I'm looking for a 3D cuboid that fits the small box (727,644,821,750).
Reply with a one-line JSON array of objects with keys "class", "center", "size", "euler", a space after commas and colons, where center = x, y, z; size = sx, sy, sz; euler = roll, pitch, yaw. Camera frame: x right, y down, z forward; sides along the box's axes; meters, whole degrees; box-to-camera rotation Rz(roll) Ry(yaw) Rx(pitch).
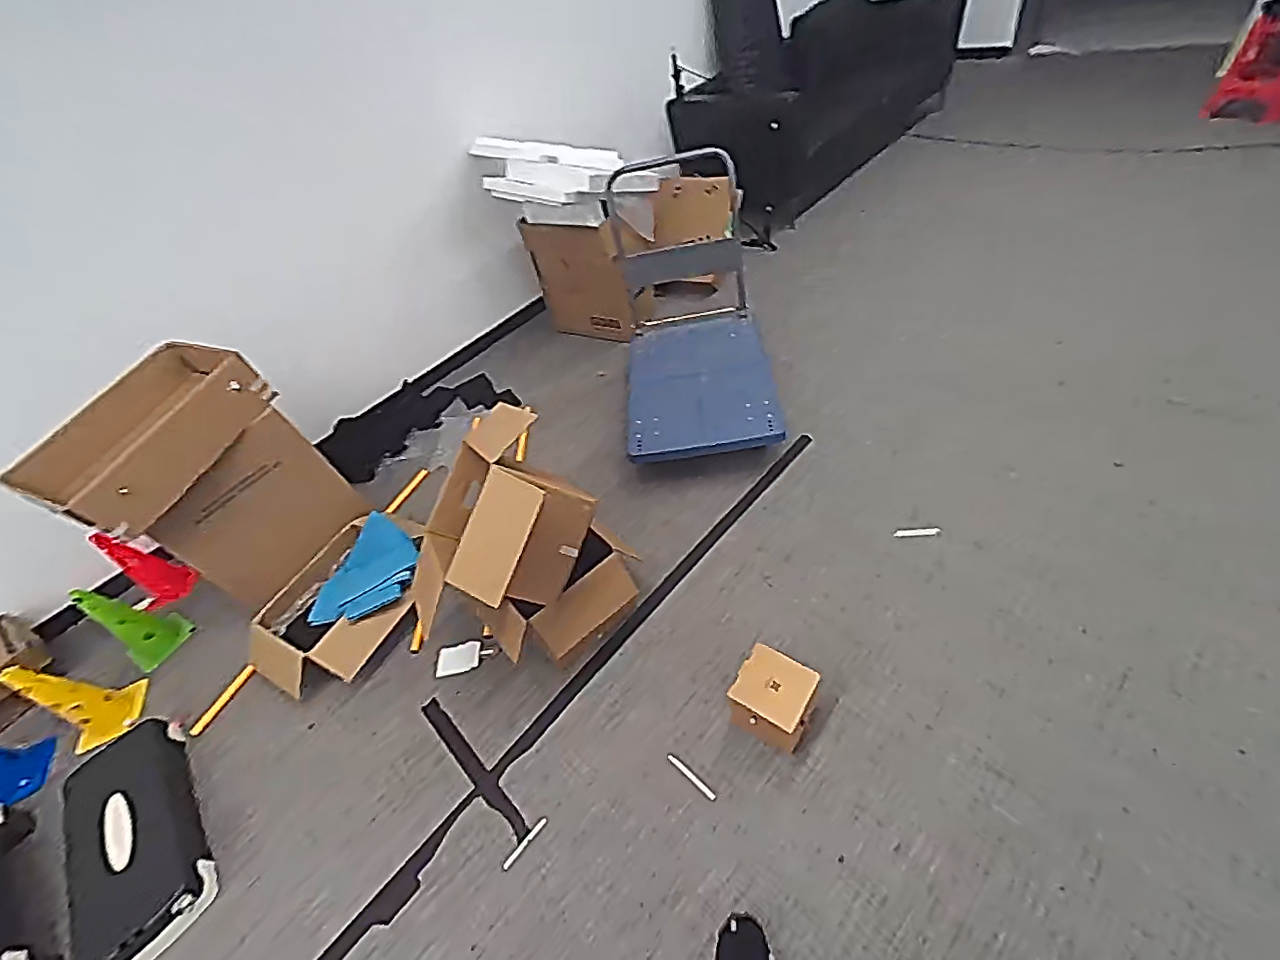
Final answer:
[{"class": "small box", "center": [0.346, 0.561, 1.384], "size": [0.179, 0.176, 0.168], "euler": [21, 56, 32]}]
